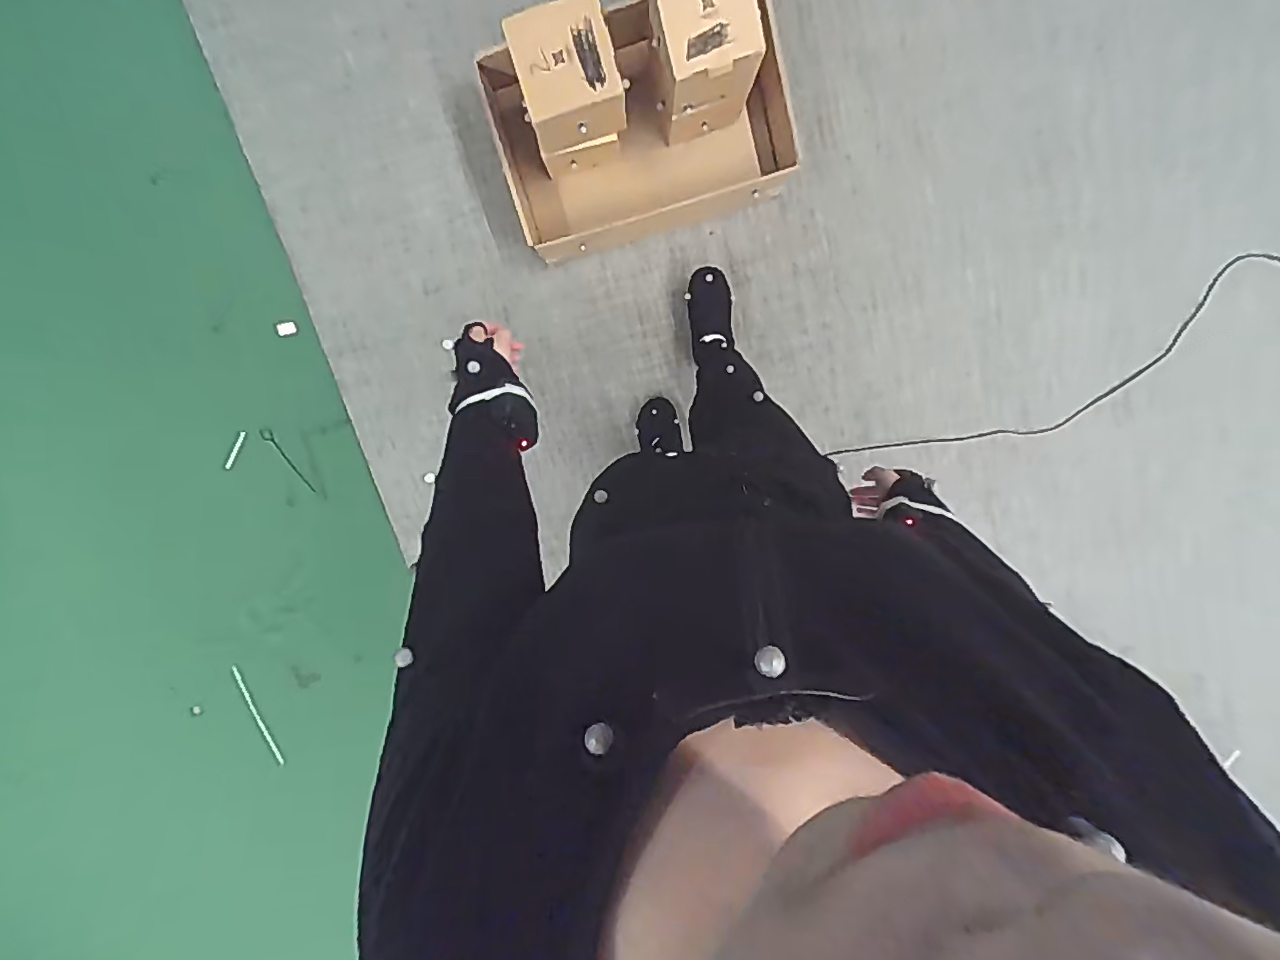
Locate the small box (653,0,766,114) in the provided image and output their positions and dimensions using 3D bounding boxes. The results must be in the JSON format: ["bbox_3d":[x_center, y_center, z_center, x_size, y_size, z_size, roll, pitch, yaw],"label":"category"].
[{"bbox_3d":[0.123,-0.814,1.001,0.168,0.176,0.179,-15,103,5],"label":"small box"}]

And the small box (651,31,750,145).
[{"bbox_3d":[0.126,-0.851,1.162,0.168,0.176,0.179,-16,103,5],"label":"small box"}]

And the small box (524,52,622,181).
[{"bbox_3d":[-0.137,-0.780,1.184,0.168,0.176,0.179,-12,102,3],"label":"small box"}]
